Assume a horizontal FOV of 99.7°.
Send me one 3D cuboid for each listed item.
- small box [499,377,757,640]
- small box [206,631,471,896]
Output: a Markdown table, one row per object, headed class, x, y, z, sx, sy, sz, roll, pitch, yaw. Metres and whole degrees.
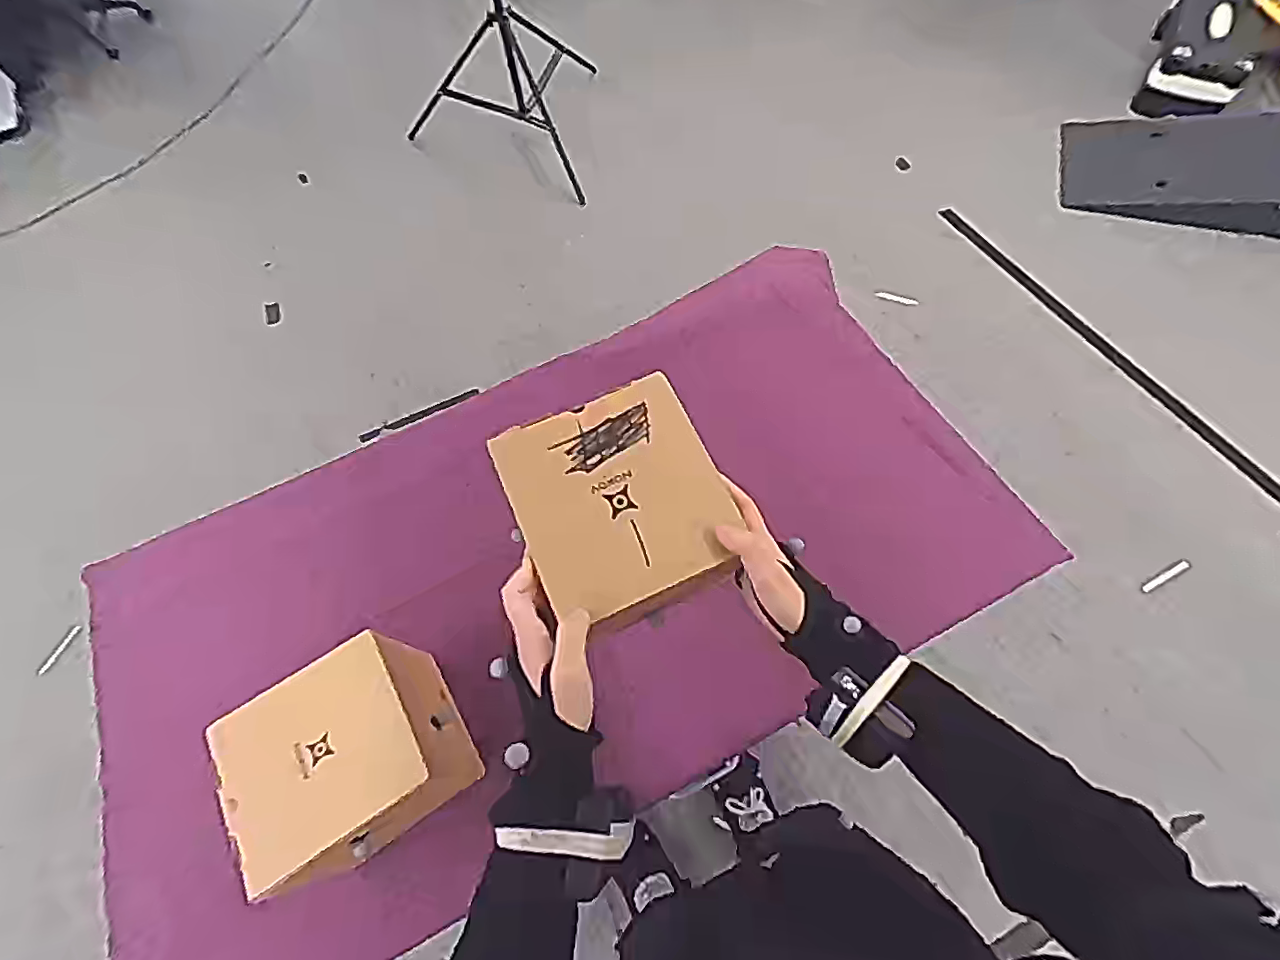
| class | x | y | z | sx | sy | sz | roll | pitch | yaw |
| --- | --- | --- | --- | --- | --- | --- | --- | --- | --- |
| small box | -0.015 | 0.038 | 0.519 | 0.168 | 0.176 | 0.179 | -23 | 72 | -8 |
| small box | -0.306 | 0.293 | 0.589 | 0.179 | 0.176 | 0.168 | -33 | 67 | -11 |
